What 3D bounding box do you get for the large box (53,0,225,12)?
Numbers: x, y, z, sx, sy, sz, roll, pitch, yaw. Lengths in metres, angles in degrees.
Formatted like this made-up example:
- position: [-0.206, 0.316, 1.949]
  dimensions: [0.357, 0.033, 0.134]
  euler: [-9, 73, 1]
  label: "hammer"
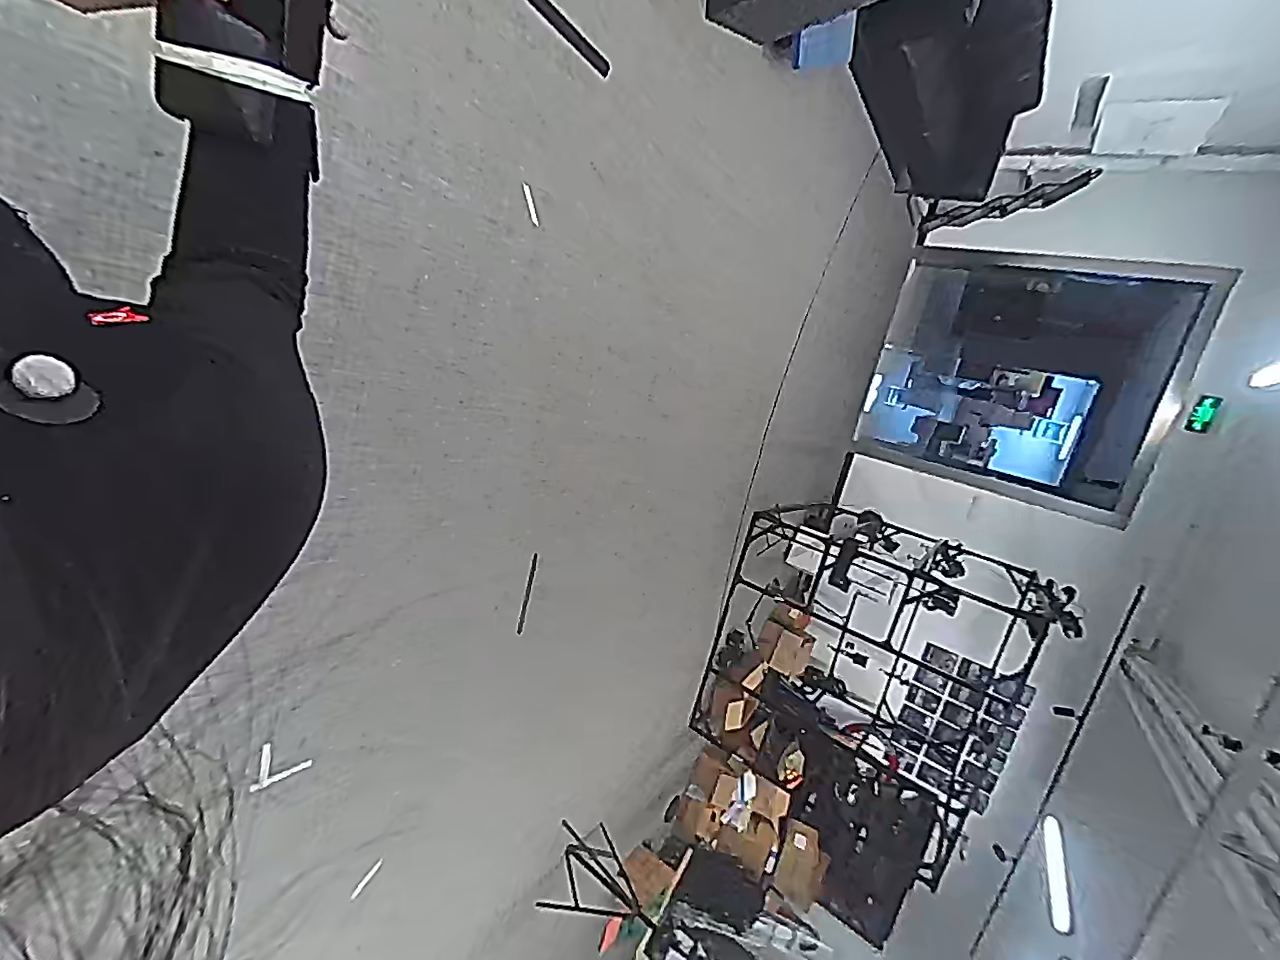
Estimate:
- position: [-0.420, -0.478, 0.196]
  dimensions: [0.408, 0.320, 0.320]
  euler: [0, 115, -58]
  label: "large box"
